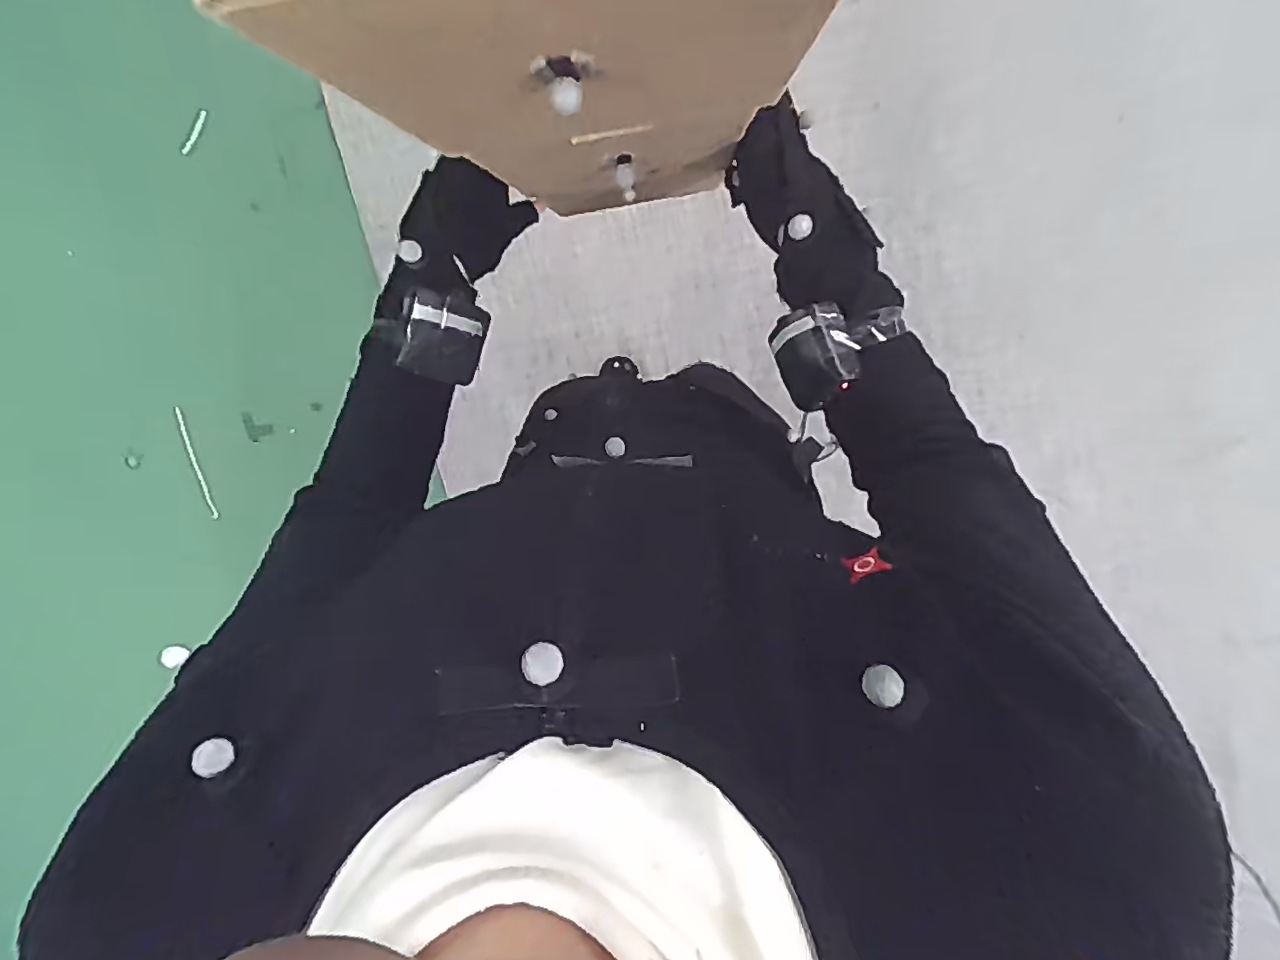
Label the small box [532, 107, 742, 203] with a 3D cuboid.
[{"bbox_3d":[-0.013,-0.363,0.488,0.179,0.176,0.168,-8,109,4],"label":"small box"}]

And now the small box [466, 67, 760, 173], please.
[{"bbox_3d":[-0.023,-0.306,0.335,0.168,0.176,0.179,-7,109,5],"label":"small box"}]

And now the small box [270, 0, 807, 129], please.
[{"bbox_3d":[-0.028,-0.243,0.182,0.179,0.176,0.168,-5,109,6],"label":"small box"}]
